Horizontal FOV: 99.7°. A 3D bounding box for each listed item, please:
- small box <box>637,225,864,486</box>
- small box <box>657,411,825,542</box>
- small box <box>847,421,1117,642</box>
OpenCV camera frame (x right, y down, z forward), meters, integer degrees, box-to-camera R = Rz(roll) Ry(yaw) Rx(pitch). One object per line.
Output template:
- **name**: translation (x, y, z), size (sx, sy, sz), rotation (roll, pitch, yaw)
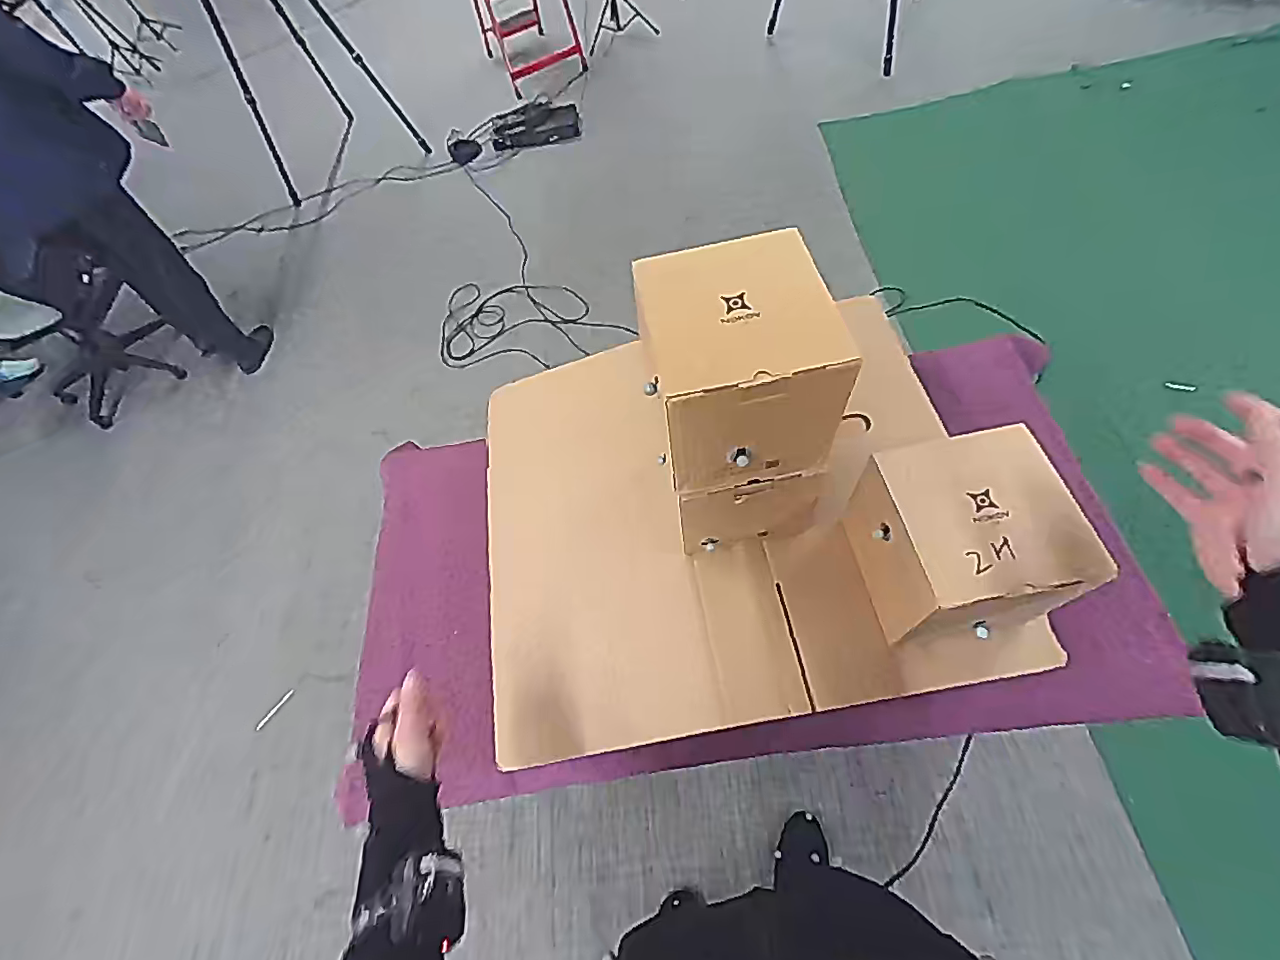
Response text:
- **small box**: translation (0.096, -0.118, 0.547), size (0.168, 0.176, 0.179), rotation (-12, 61, 0)
- **small box**: translation (0.116, -0.033, 0.683), size (0.168, 0.176, 0.179), rotation (-11, 59, 1)
- **small box**: translation (0.348, 0.064, 0.599), size (0.168, 0.176, 0.179), rotation (-11, 61, 2)
